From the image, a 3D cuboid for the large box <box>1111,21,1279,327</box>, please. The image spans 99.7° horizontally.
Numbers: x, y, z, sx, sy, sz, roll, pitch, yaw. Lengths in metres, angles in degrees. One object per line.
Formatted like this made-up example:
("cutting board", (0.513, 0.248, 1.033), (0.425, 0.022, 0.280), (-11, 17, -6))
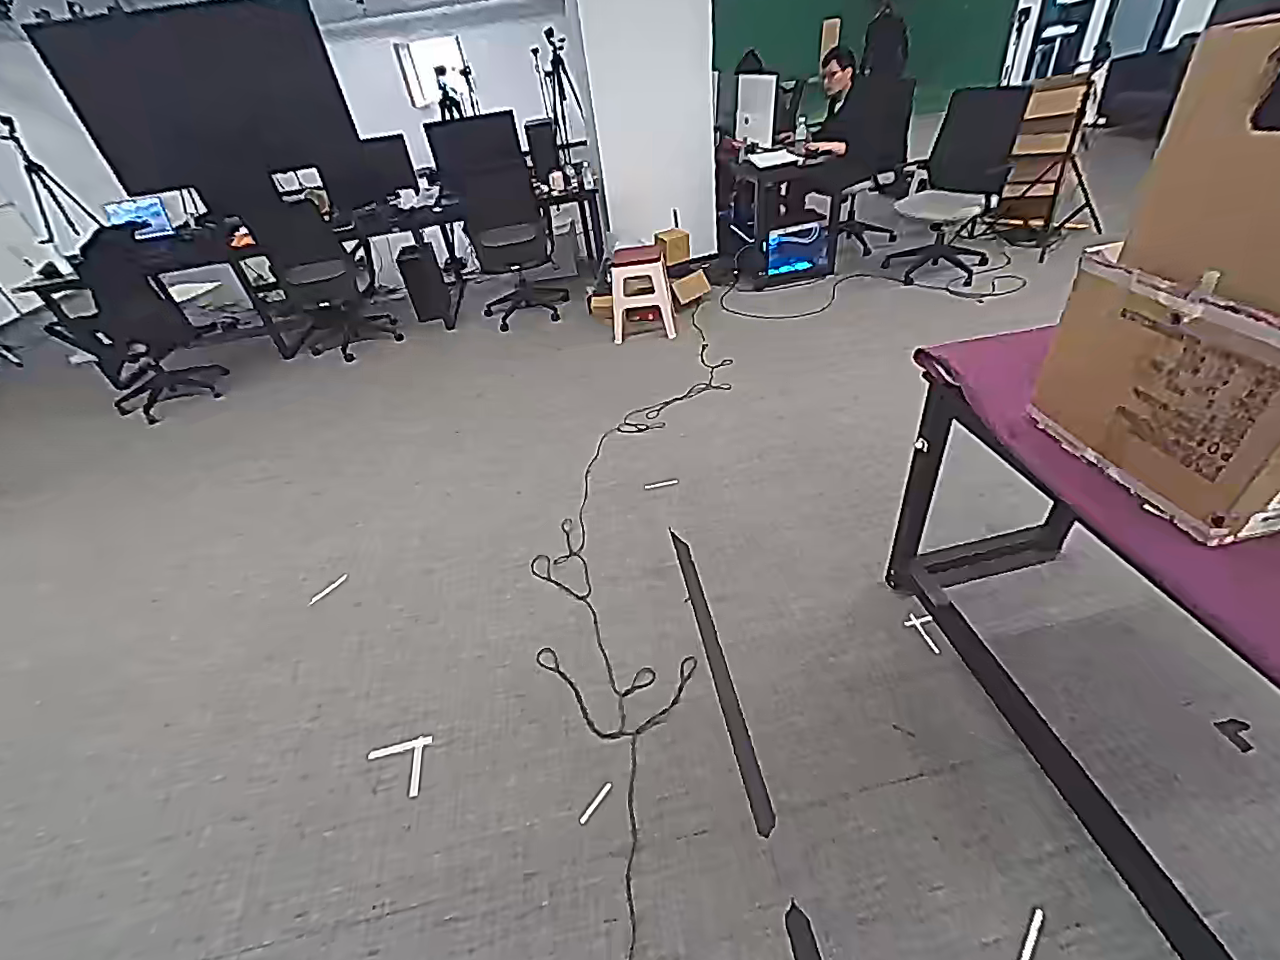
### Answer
("large box", (0.952, -0.410, 0.678), (0.408, 0.320, 0.320), (-11, 34, -2))
